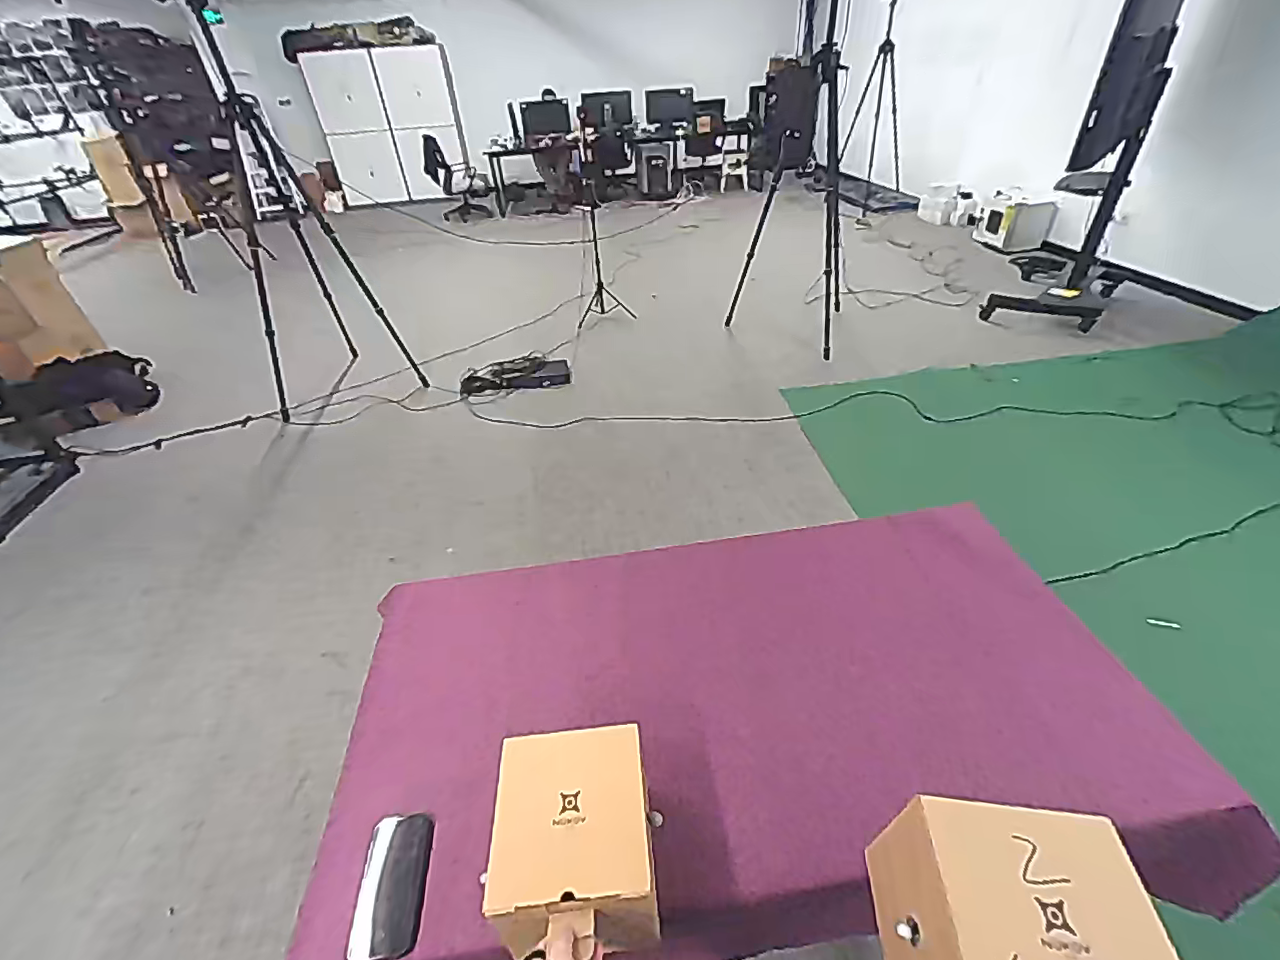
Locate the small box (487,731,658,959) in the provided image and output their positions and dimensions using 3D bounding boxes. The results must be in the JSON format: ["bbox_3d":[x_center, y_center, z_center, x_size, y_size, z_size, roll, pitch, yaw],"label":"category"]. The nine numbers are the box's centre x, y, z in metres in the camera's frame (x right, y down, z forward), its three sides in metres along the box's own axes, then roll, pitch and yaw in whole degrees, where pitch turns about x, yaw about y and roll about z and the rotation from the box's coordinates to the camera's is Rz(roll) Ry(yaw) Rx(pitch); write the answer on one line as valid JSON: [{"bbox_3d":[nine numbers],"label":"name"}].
[{"bbox_3d":[-0.069,0.426,0.633,0.168,0.176,0.179,-5,36,-2],"label":"small box"}]
